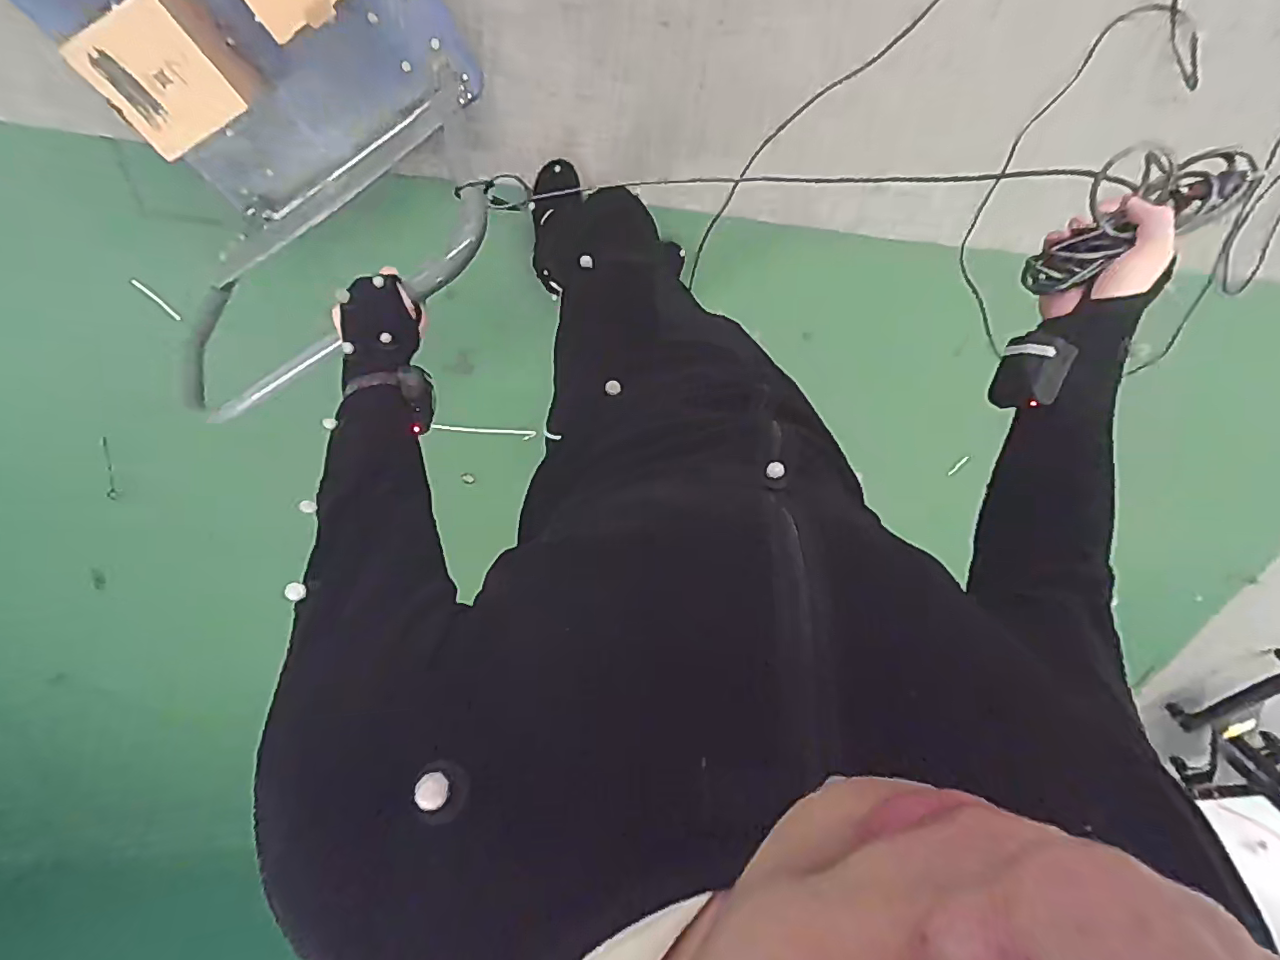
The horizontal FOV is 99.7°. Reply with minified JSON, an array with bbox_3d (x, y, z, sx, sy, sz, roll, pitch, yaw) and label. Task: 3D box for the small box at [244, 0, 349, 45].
[{"bbox_3d":[-0.542,-0.813,0.820,0.168,0.176,0.179,-28,136,10],"label":"small box"}]
